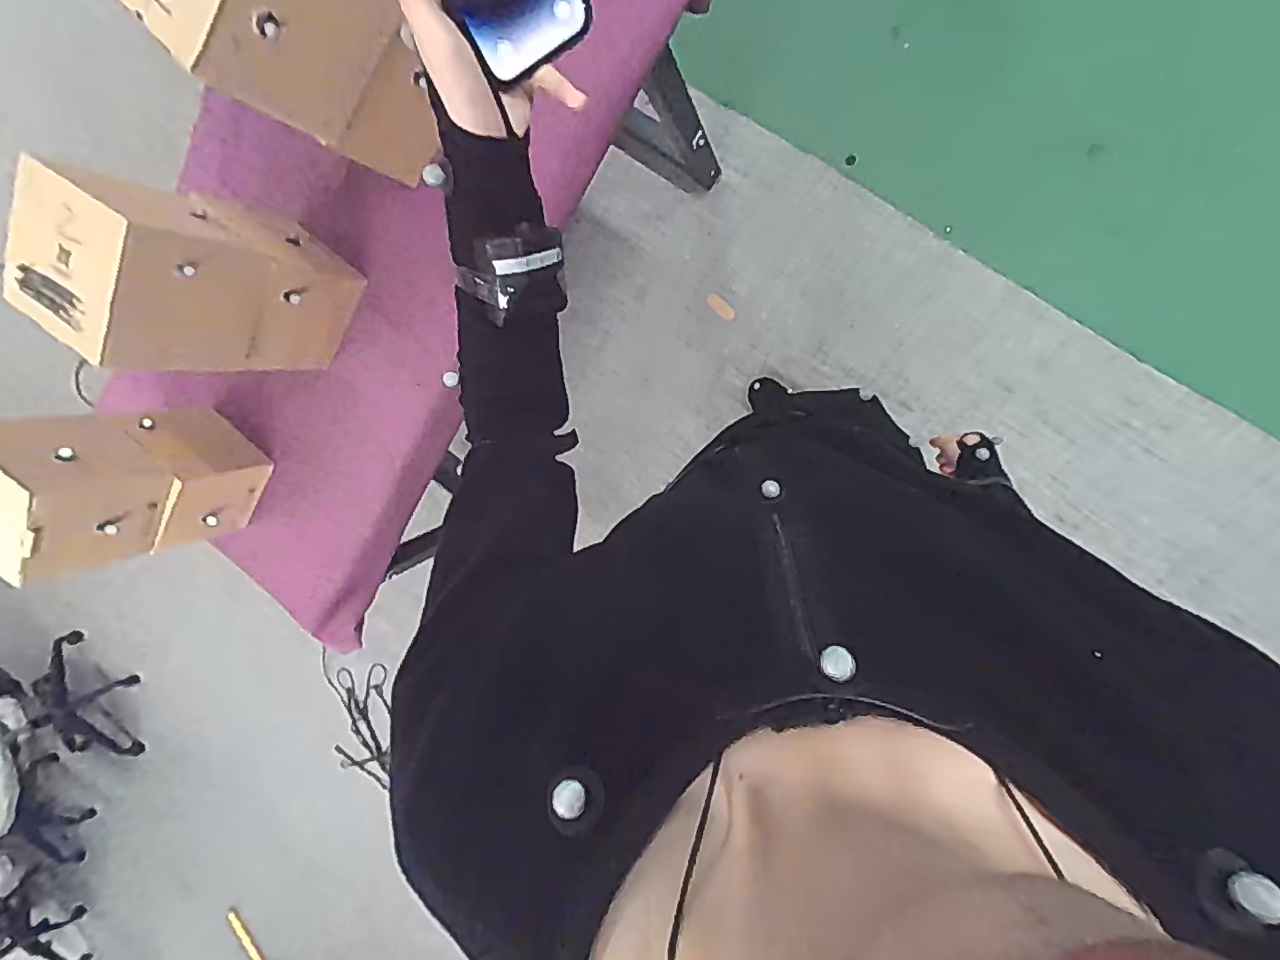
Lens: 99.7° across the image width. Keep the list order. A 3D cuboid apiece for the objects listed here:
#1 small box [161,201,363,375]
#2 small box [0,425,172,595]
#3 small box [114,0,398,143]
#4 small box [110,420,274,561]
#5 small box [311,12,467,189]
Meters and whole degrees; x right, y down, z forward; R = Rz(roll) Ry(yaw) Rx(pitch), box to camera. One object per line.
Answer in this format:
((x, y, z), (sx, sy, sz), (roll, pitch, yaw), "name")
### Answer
((-0.563, -0.279, 0.825), (0.168, 0.176, 0.179), (39, 109, 7), "small box")
((-0.851, 0.031, 0.800), (0.179, 0.176, 0.168), (34, 107, 8), "small box")
((-0.392, -0.499, 0.559), (0.168, 0.176, 0.179), (44, 108, 5), "small box")
((-0.797, 0.006, 0.954), (0.179, 0.176, 0.168), (39, 109, 7), "small box")
((-0.361, -0.532, 0.717), (0.168, 0.176, 0.179), (45, 110, 5), "small box")
